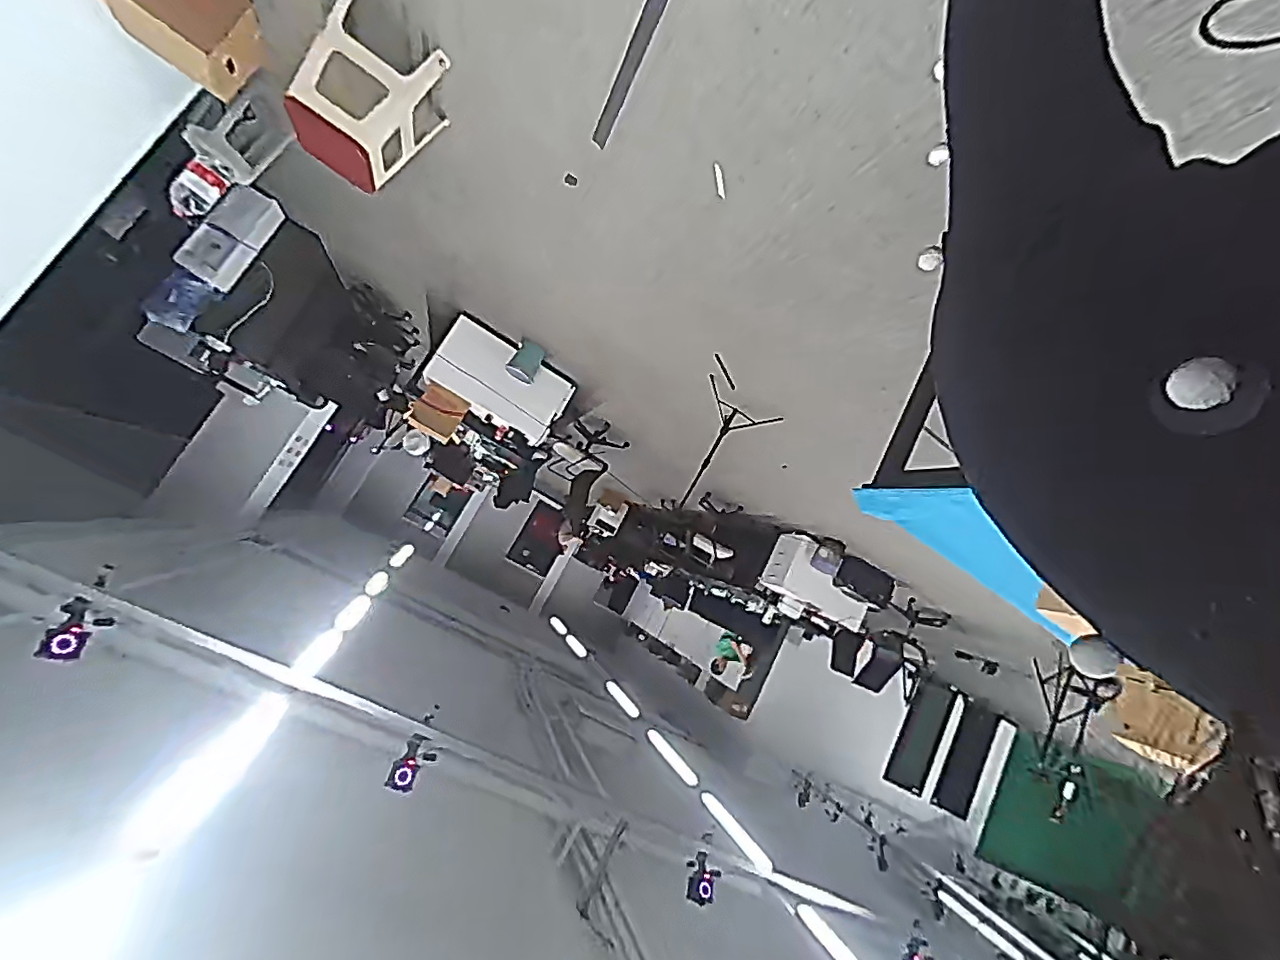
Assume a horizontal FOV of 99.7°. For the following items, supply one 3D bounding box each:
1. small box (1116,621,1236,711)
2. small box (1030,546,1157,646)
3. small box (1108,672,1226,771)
[{"bbox_3d":[1.495,0.511,1.507,0.168,0.176,0.179,31,167,-18],"label":"small box"},{"bbox_3d":[1.138,0.284,1.355,0.179,0.176,0.168,31,169,-15],"label":"small box"},{"bbox_3d":[1.417,0.653,1.463,0.179,0.176,0.168,32,169,-16],"label":"small box"}]
